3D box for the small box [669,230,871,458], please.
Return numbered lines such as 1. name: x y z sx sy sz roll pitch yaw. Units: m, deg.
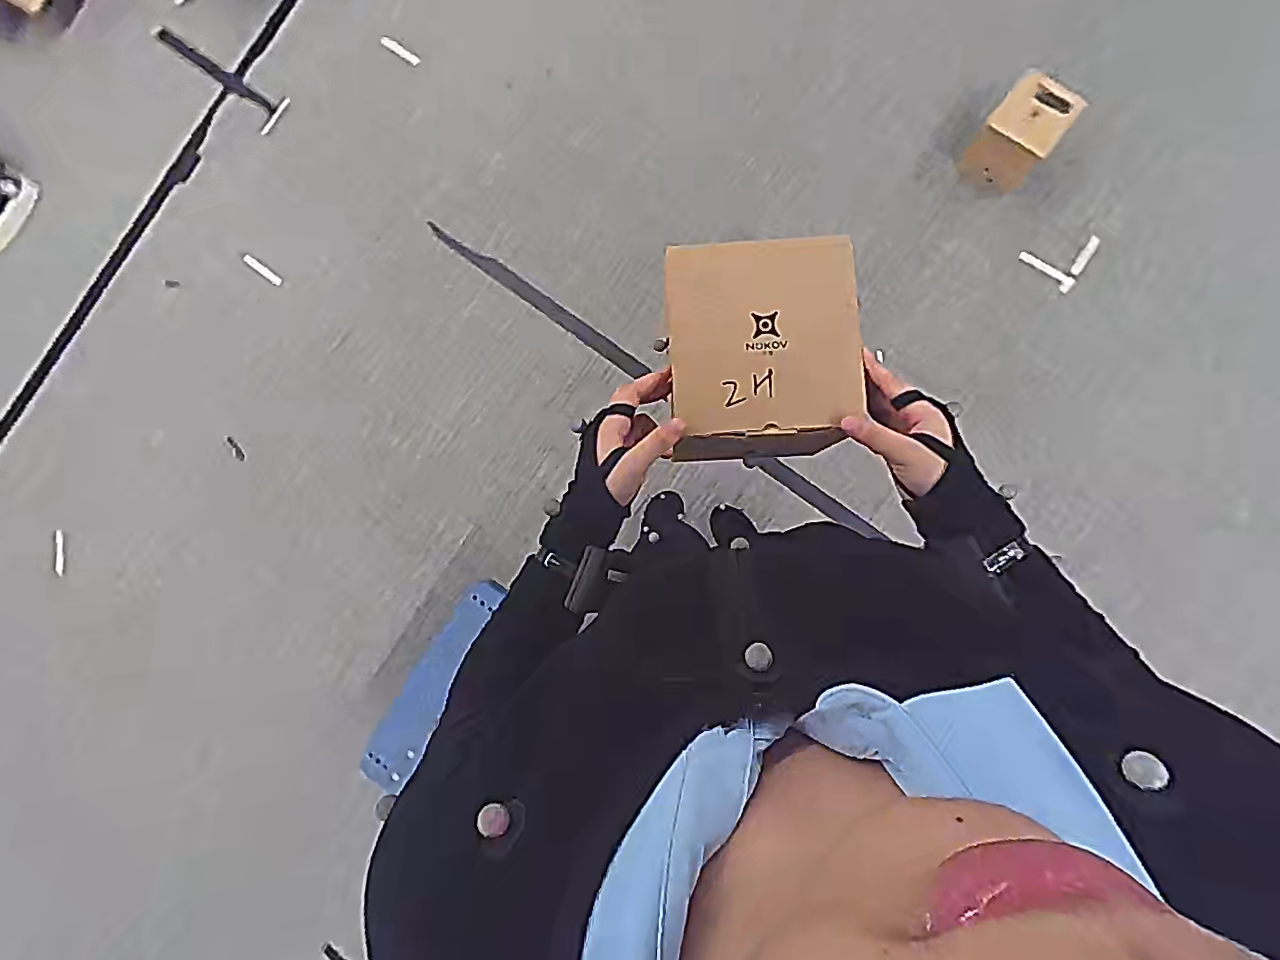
1. small box: 0.114 -0.122 0.544 0.168 0.176 0.179 -2 84 3
